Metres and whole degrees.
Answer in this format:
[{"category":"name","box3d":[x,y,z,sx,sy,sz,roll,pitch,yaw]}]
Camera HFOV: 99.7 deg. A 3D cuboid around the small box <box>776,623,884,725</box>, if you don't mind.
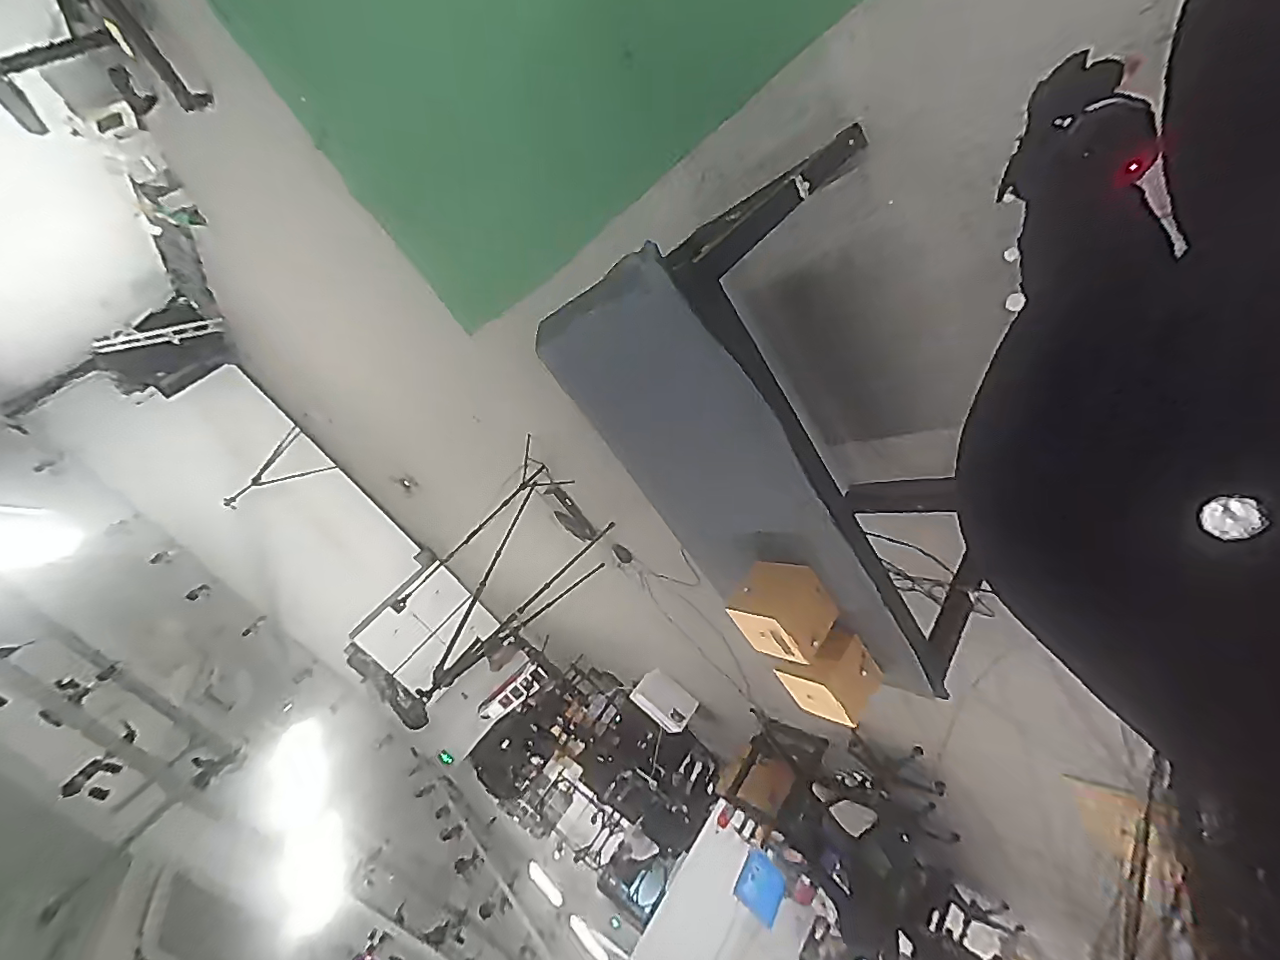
[{"category":"small box","box3d":[0.500,0.499,1.419,0.168,0.176,0.179,53,152,-18]}]
